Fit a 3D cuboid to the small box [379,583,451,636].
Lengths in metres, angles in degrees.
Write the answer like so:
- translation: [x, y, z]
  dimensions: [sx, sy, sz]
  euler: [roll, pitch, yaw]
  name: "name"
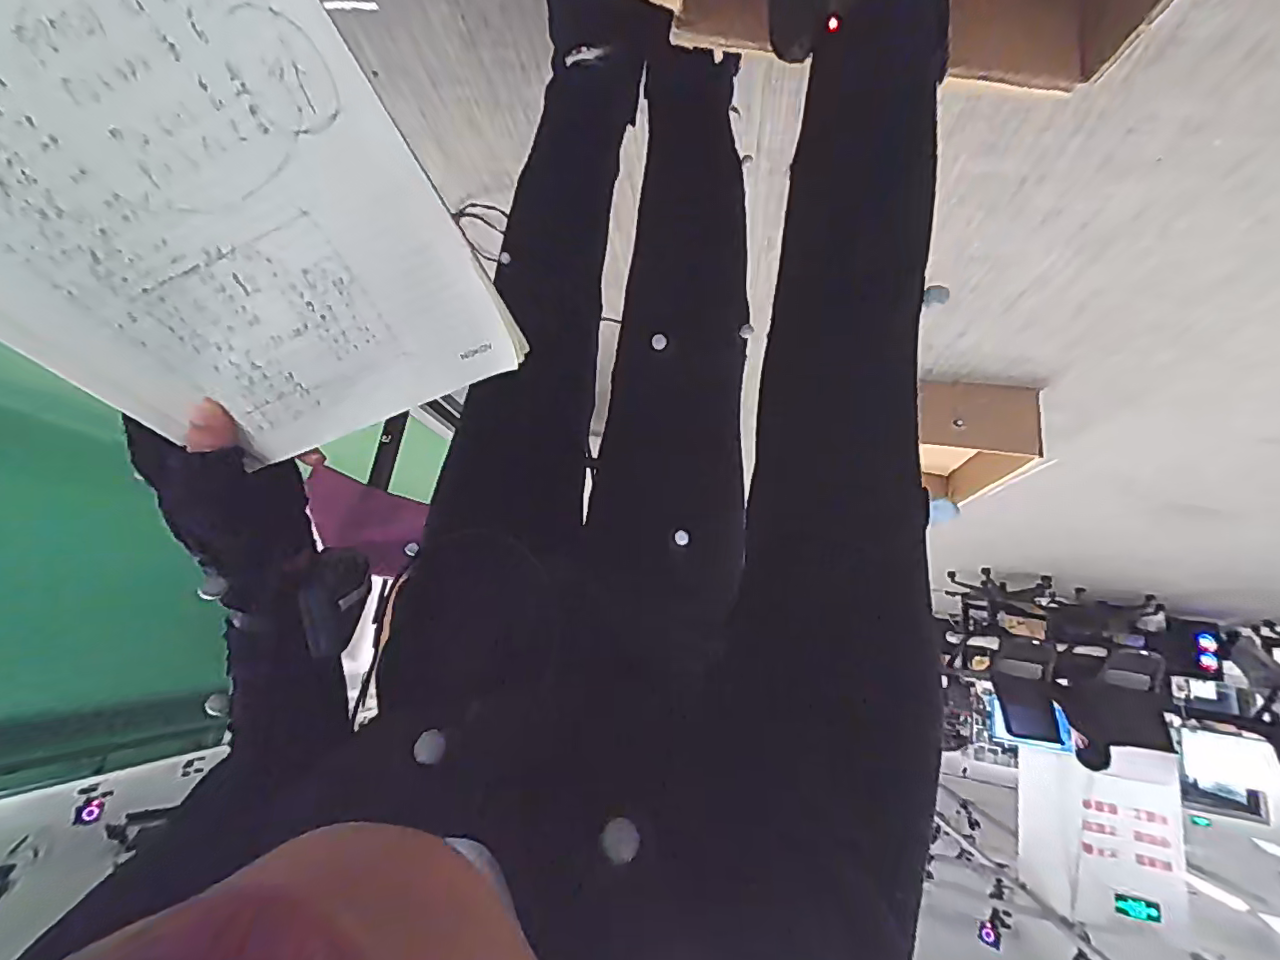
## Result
- translation: [-0.819, 0.475, 1.985]
  dimensions: [0.168, 0.176, 0.179]
  euler: [8, 165, 7]
  name: "small box"
